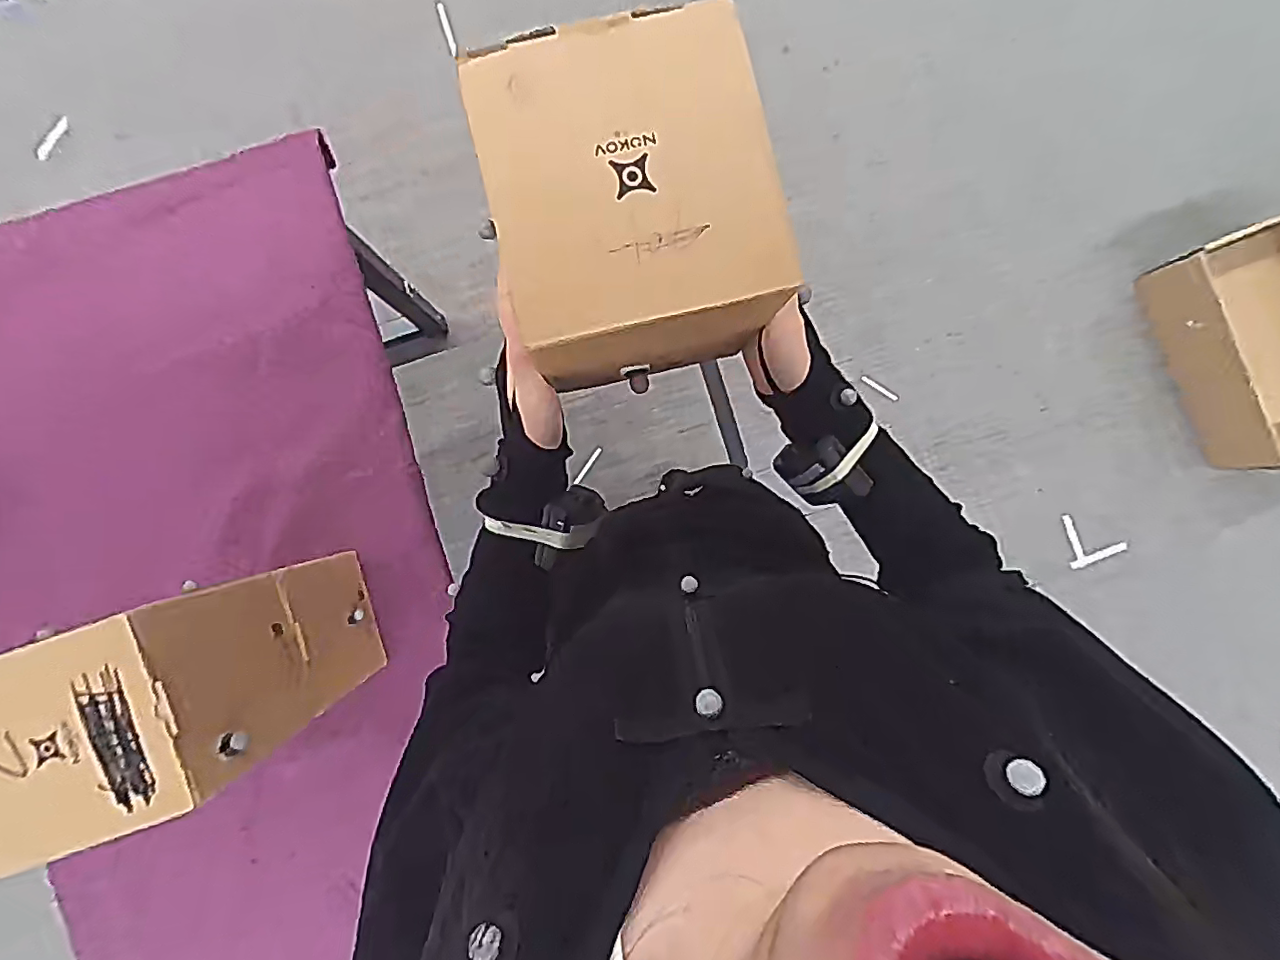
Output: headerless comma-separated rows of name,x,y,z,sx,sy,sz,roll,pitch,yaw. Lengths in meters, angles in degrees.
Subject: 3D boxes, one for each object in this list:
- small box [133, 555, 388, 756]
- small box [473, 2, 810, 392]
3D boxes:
small box,-0.449,0.201,0.668,0.179,0.176,0.168,-16,91,-2
small box,-0.003,-0.177,0.391,0.168,0.176,0.179,-14,91,-2
